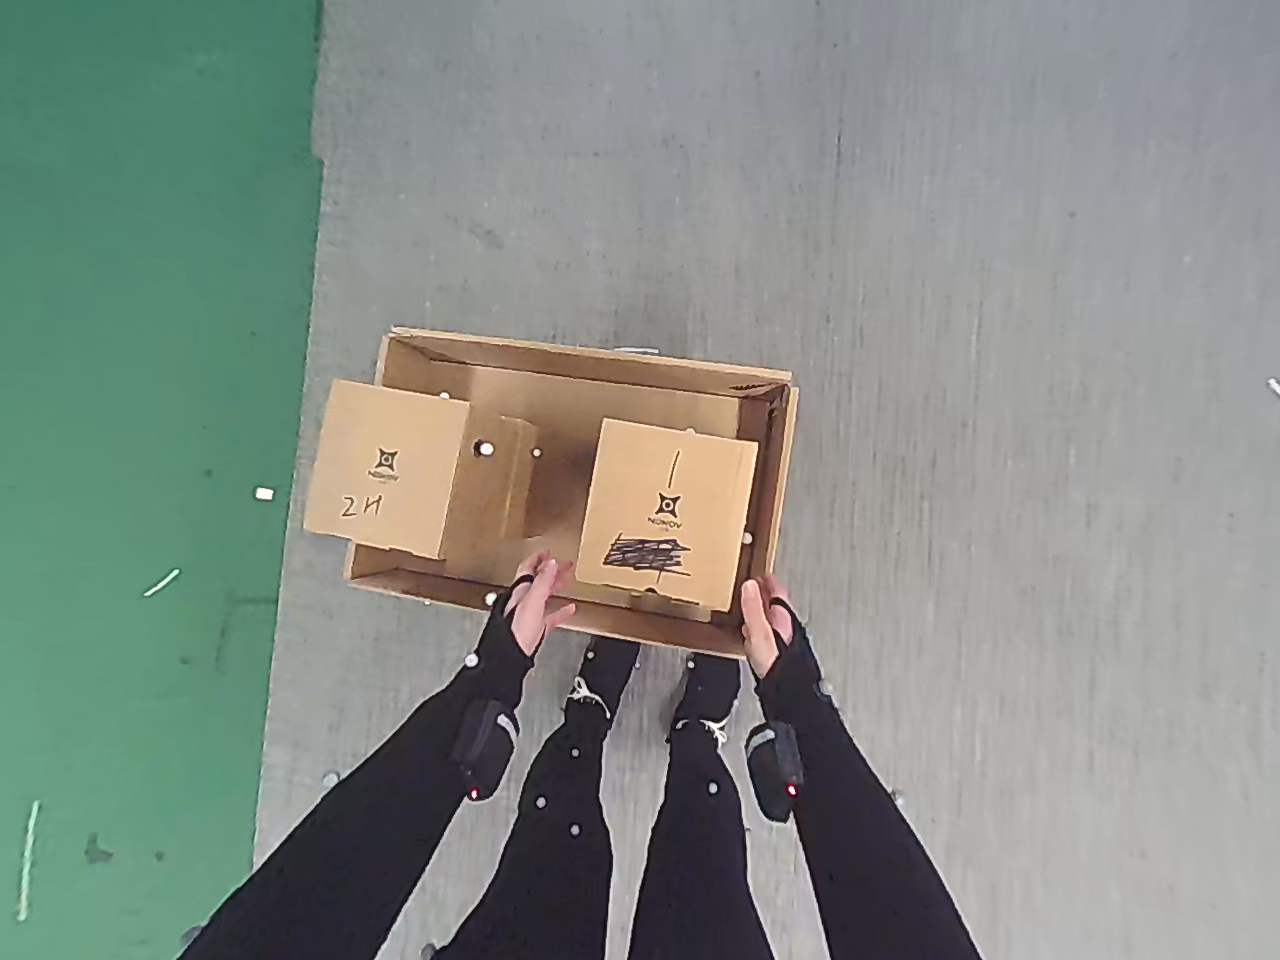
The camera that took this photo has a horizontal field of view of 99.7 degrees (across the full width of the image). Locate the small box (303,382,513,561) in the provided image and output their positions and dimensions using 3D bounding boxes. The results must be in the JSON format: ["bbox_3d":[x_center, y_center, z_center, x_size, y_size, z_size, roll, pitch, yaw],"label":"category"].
[{"bbox_3d":[-0.270,-0.008,0.671,0.168,0.176,0.179,10,89,7],"label":"small box"}]

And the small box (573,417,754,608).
[{"bbox_3d":[0.032,0.035,0.635,0.168,0.176,0.179,9,88,7],"label":"small box"}]
